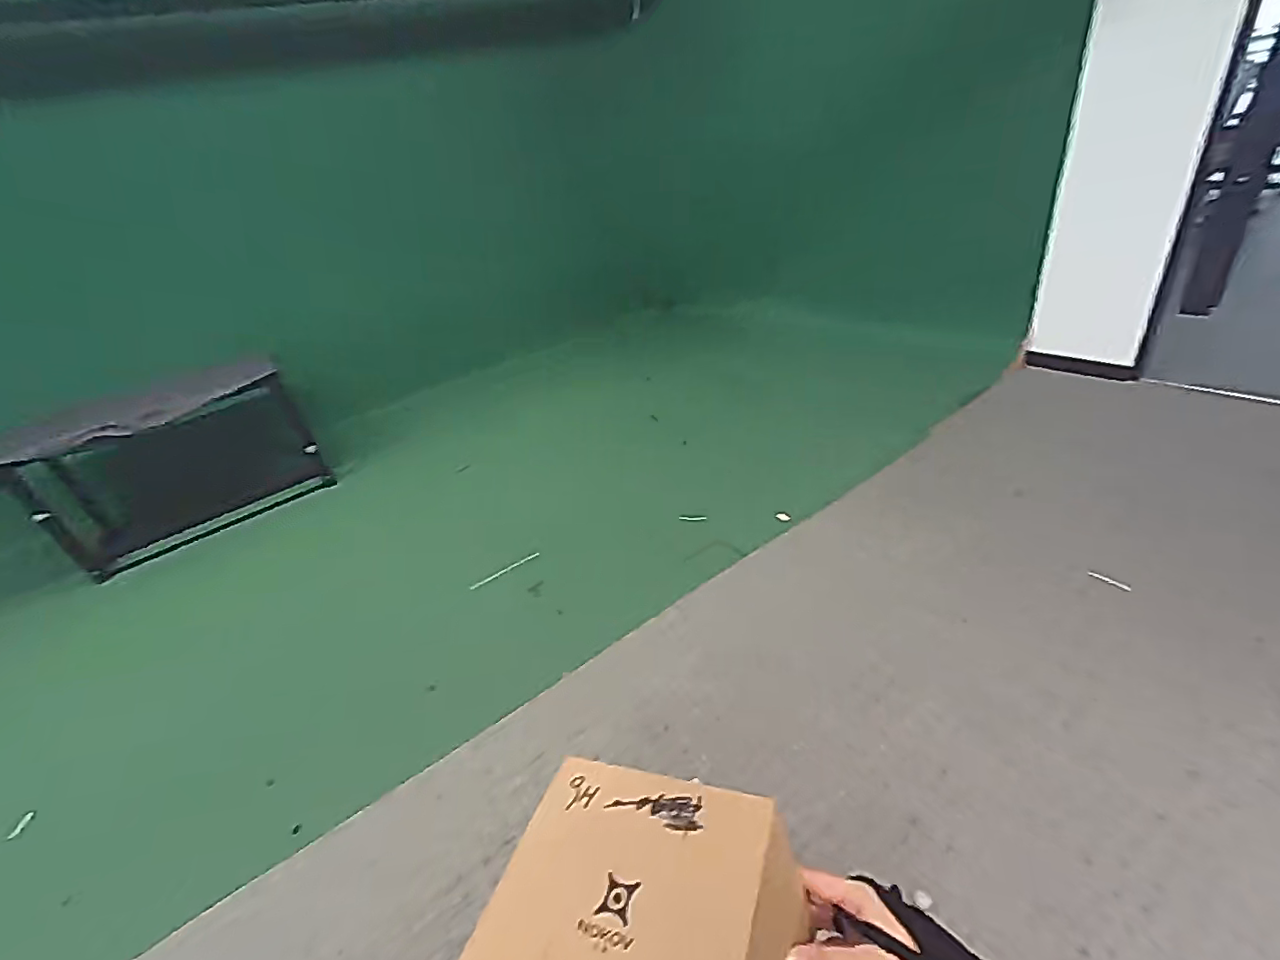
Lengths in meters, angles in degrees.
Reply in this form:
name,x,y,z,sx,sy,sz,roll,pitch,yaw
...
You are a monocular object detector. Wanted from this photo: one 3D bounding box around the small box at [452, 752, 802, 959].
name,x,y,z,sx,sy,sz,roll,pitch,yaw
small box,0.003,0.324,0.359,0.168,0.176,0.179,-3,31,29
